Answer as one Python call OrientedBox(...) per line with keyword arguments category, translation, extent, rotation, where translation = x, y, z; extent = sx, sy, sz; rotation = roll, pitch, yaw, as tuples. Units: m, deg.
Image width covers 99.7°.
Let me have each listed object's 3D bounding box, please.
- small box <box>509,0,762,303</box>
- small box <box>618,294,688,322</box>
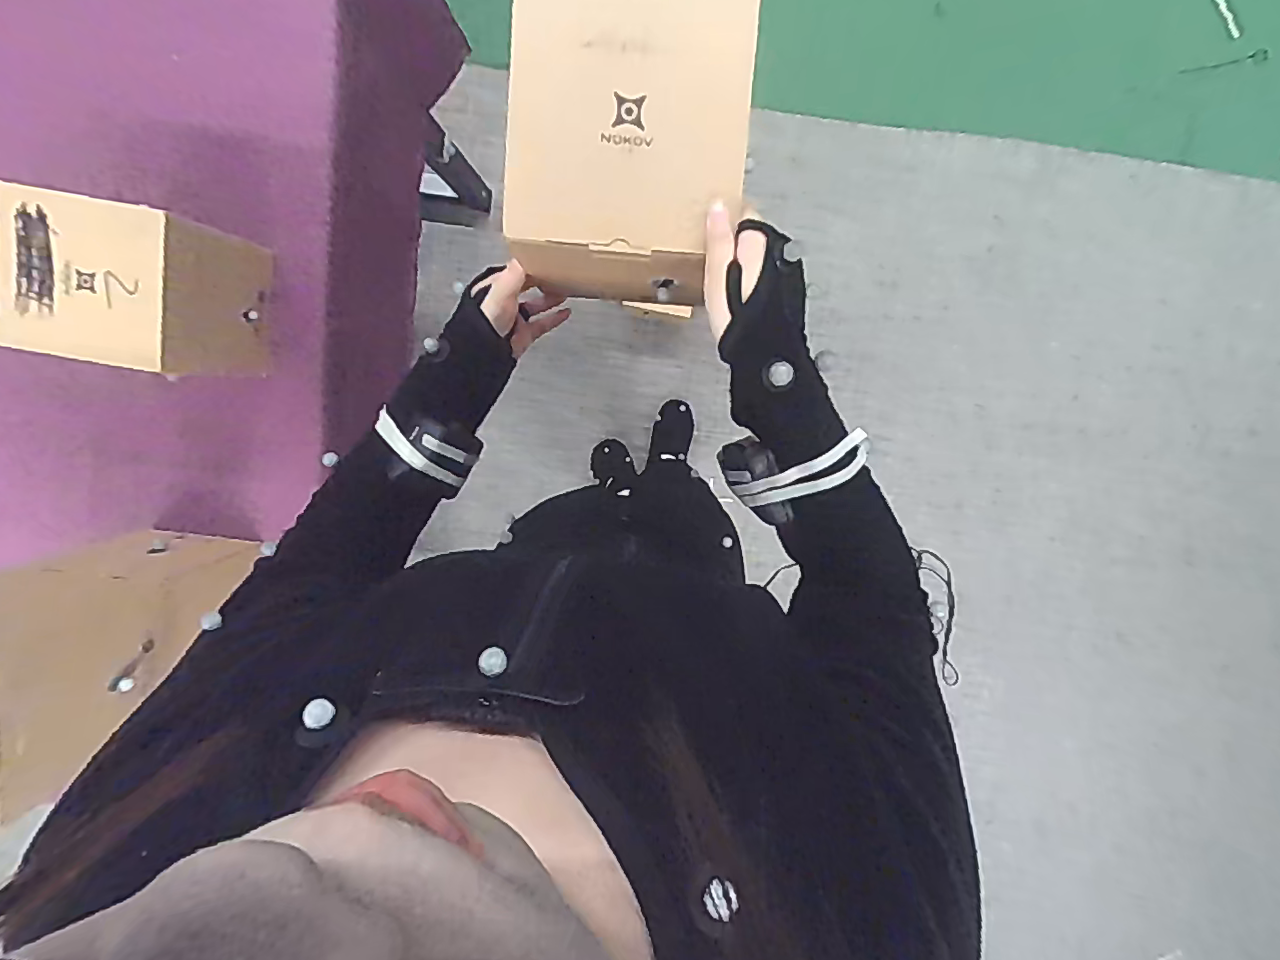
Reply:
OrientedBox(category="small box", translation=(-0.006, -0.257, 0.455), extent=(0.168, 0.176, 0.179), rotation=(5, 96, -2))
OrientedBox(category="small box", translation=(0.045, -0.498, 1.330), extent=(0.168, 0.176, 0.179), rotation=(11, 99, -2))
